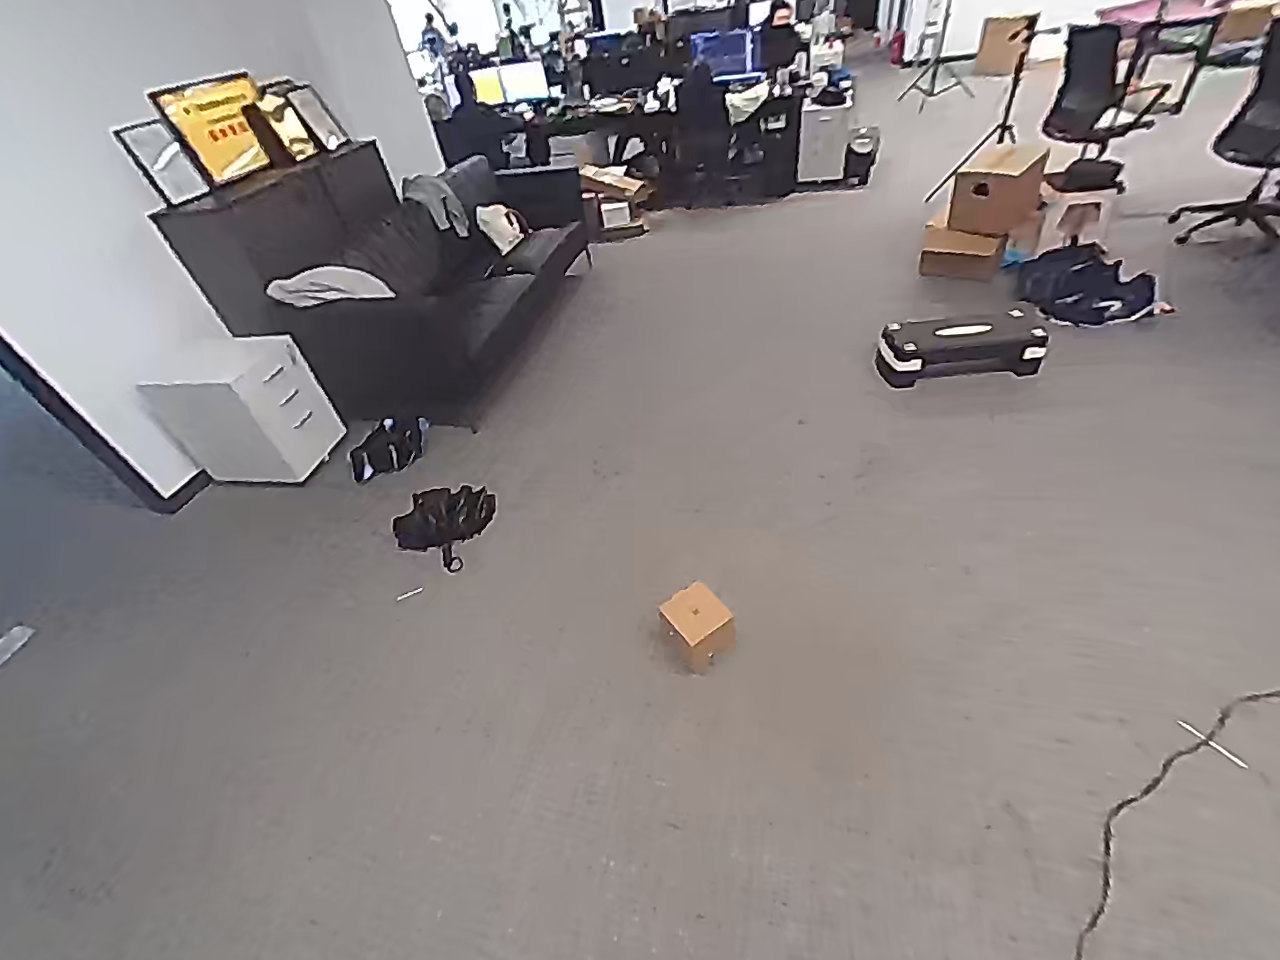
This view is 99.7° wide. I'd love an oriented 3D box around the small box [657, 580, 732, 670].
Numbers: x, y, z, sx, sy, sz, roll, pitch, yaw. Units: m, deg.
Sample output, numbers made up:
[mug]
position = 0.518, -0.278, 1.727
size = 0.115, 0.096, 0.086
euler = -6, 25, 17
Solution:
[small box]
position = 0.174, 0.459, 1.705
size = 0.168, 0.176, 0.179
euler = -30, 47, -19
